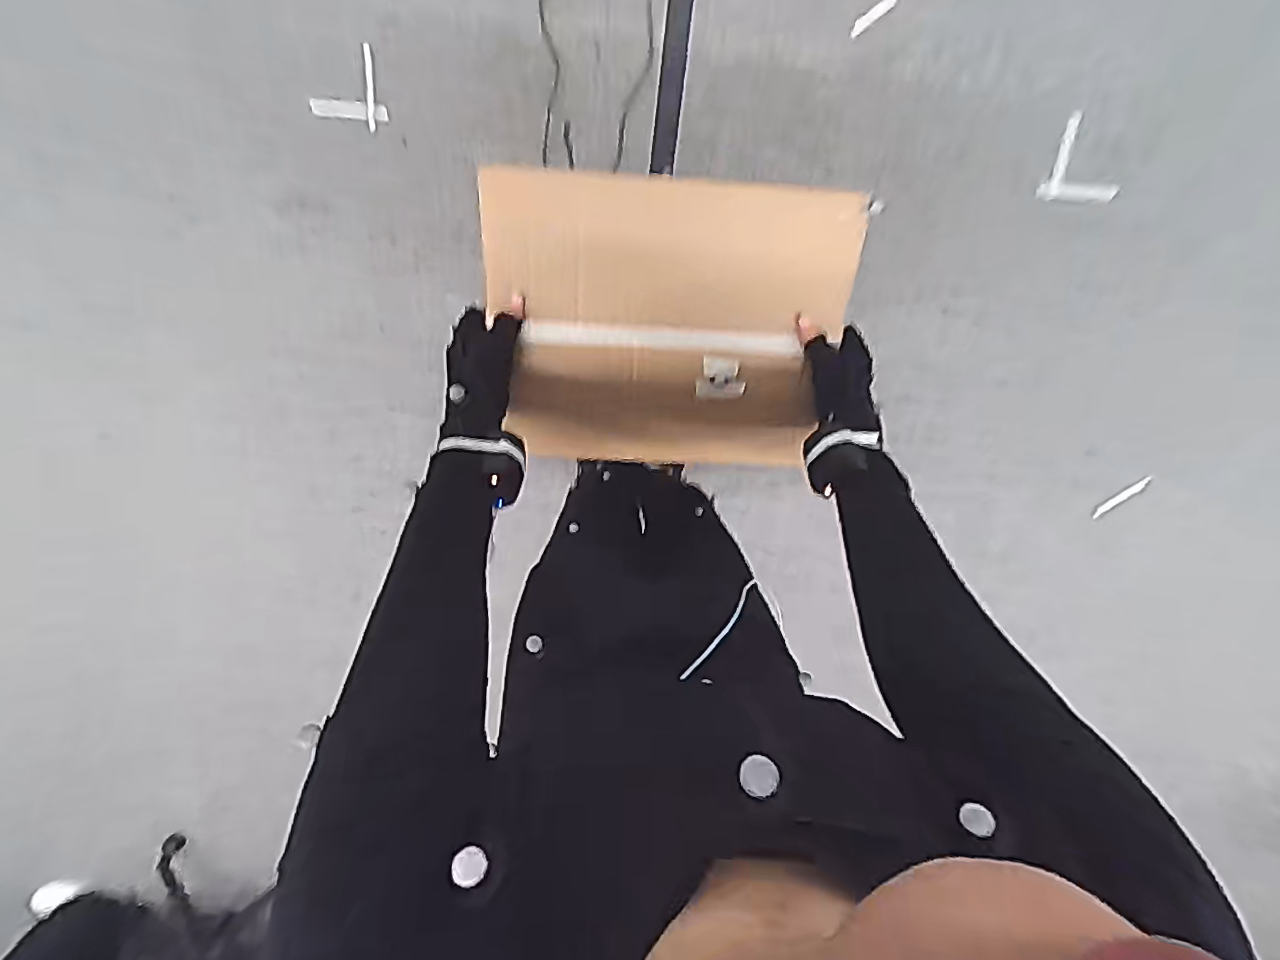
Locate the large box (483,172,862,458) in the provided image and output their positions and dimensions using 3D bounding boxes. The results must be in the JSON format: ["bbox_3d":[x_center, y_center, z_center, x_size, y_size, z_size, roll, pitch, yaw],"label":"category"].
[{"bbox_3d":[0.023,-0.233,0.757,0.408,0.320,0.320,2,117,-4],"label":"large box"}]
